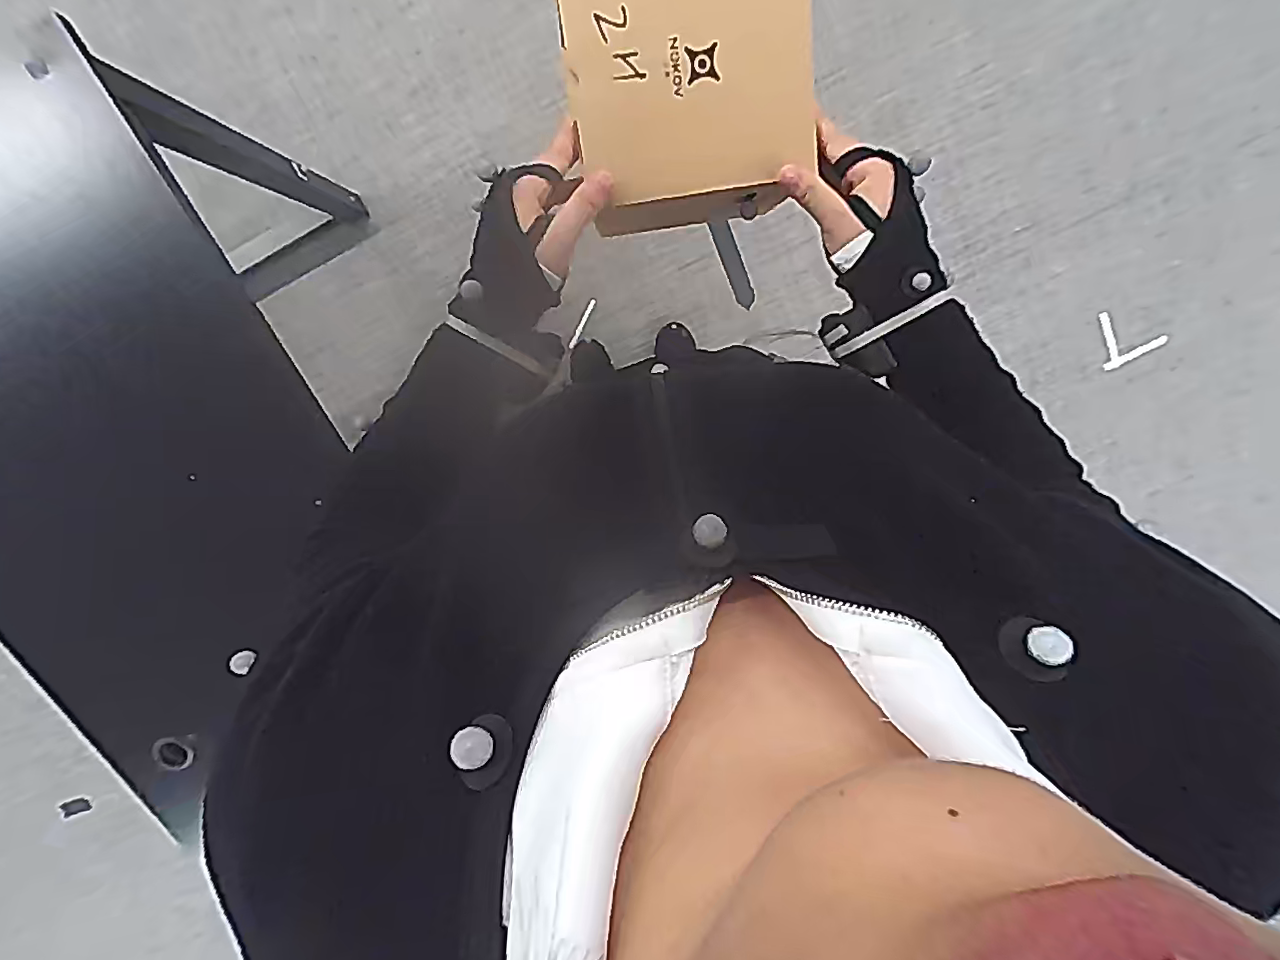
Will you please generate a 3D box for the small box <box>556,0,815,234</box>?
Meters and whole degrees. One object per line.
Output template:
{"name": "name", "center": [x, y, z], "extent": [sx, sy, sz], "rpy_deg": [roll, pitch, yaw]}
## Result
{"name": "small box", "center": [0.034, -0.315, 0.456], "extent": [0.179, 0.176, 0.168], "rpy_deg": [-8, 107, 2]}
